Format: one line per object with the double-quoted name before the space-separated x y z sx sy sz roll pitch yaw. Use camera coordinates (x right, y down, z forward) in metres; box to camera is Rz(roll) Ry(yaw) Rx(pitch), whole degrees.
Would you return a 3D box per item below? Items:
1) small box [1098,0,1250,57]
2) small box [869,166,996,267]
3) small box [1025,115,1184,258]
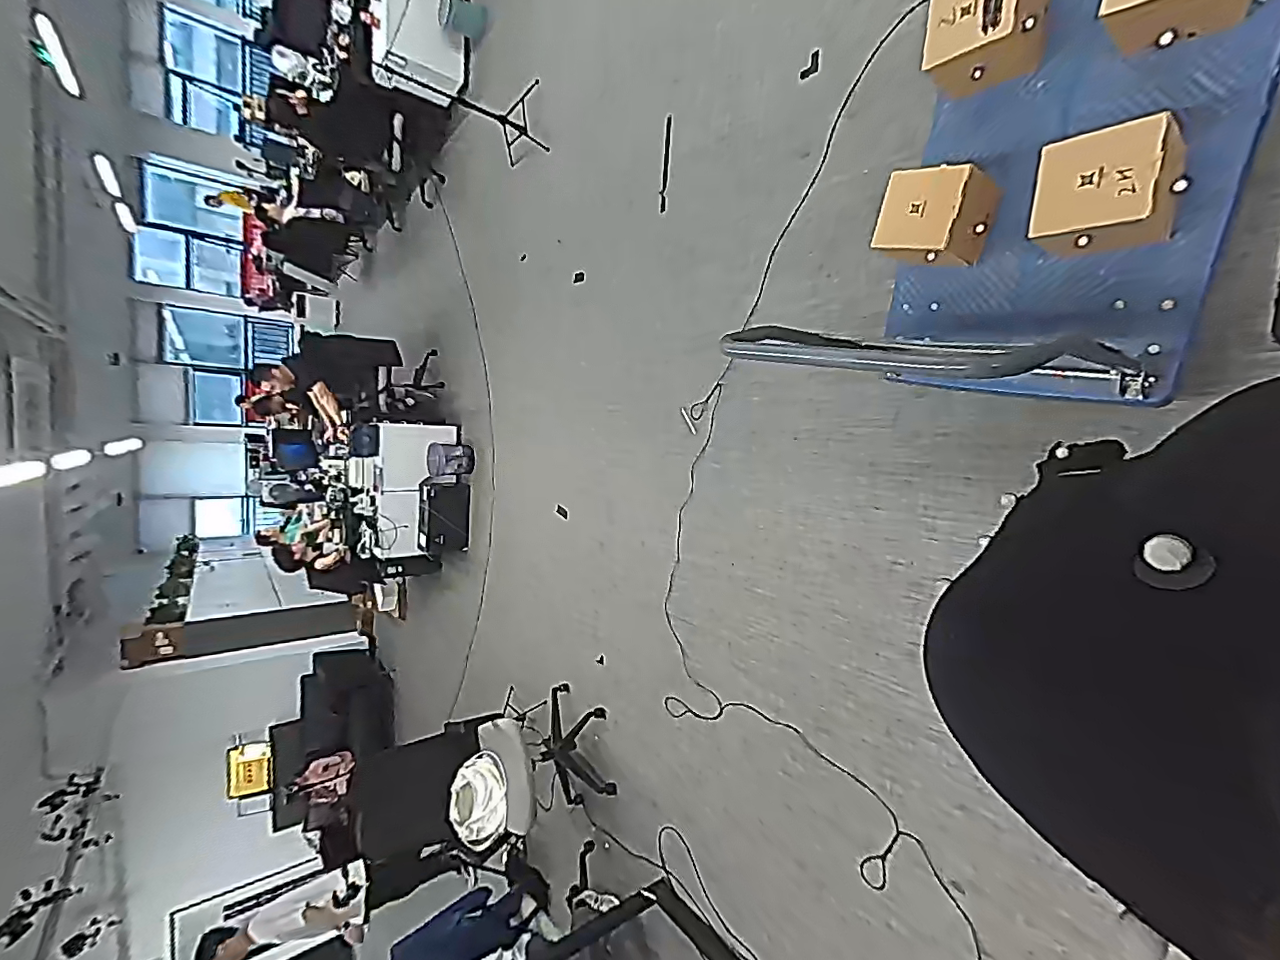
"small box" 0.914 -0.863 0.904 0.168 0.176 0.179 23 110 49
"small box" 0.663 -0.590 1.228 0.179 0.176 0.168 28 112 46
"small box" 0.849 -0.522 0.993 0.179 0.176 0.168 14 102 51
